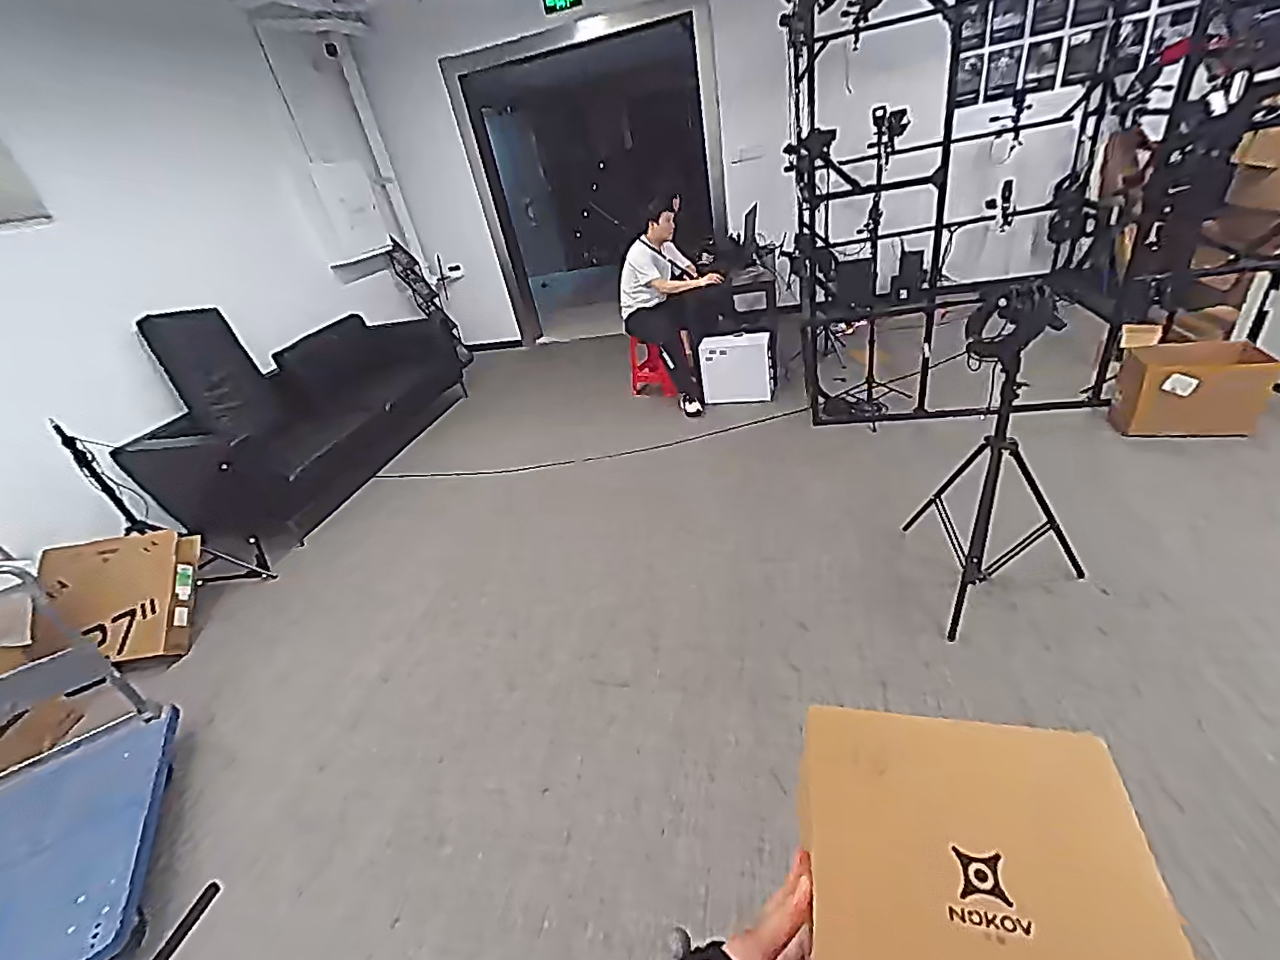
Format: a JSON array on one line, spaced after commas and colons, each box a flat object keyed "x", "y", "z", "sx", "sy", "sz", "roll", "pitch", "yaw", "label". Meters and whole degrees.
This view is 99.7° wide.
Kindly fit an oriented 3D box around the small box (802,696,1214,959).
[{"x": 0.185, "y": 0.258, "z": 0.318, "sx": 0.168, "sy": 0.176, "sz": 0.179, "roll": 0, "pitch": 40, "yaw": 14, "label": "small box"}]
